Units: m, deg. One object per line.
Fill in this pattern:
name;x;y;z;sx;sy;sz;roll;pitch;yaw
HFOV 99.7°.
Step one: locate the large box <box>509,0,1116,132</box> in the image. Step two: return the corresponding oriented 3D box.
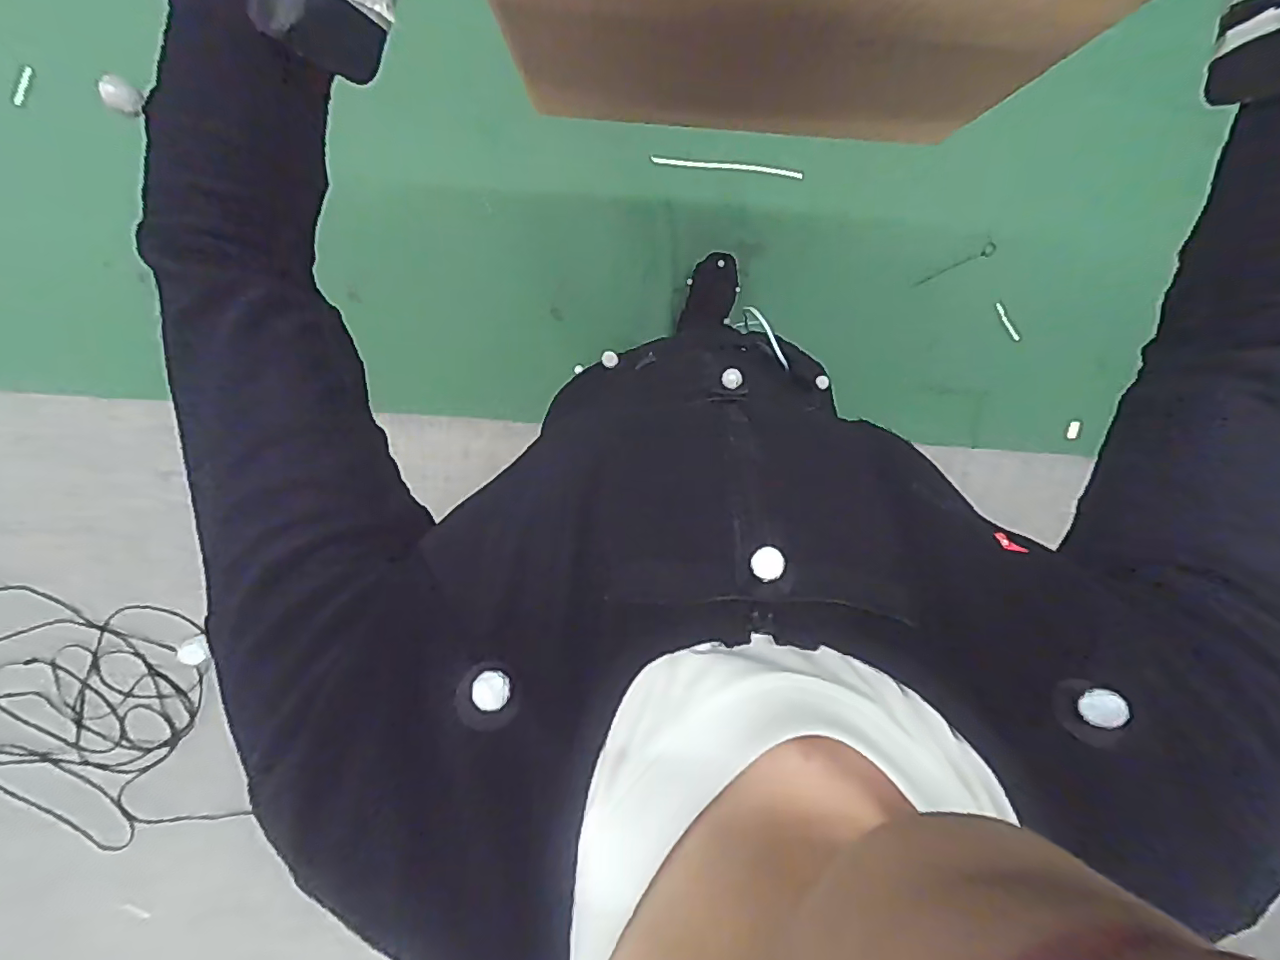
large box;0.111;-0.467;0.360;0.408;0.320;0.320;2;104;-2
